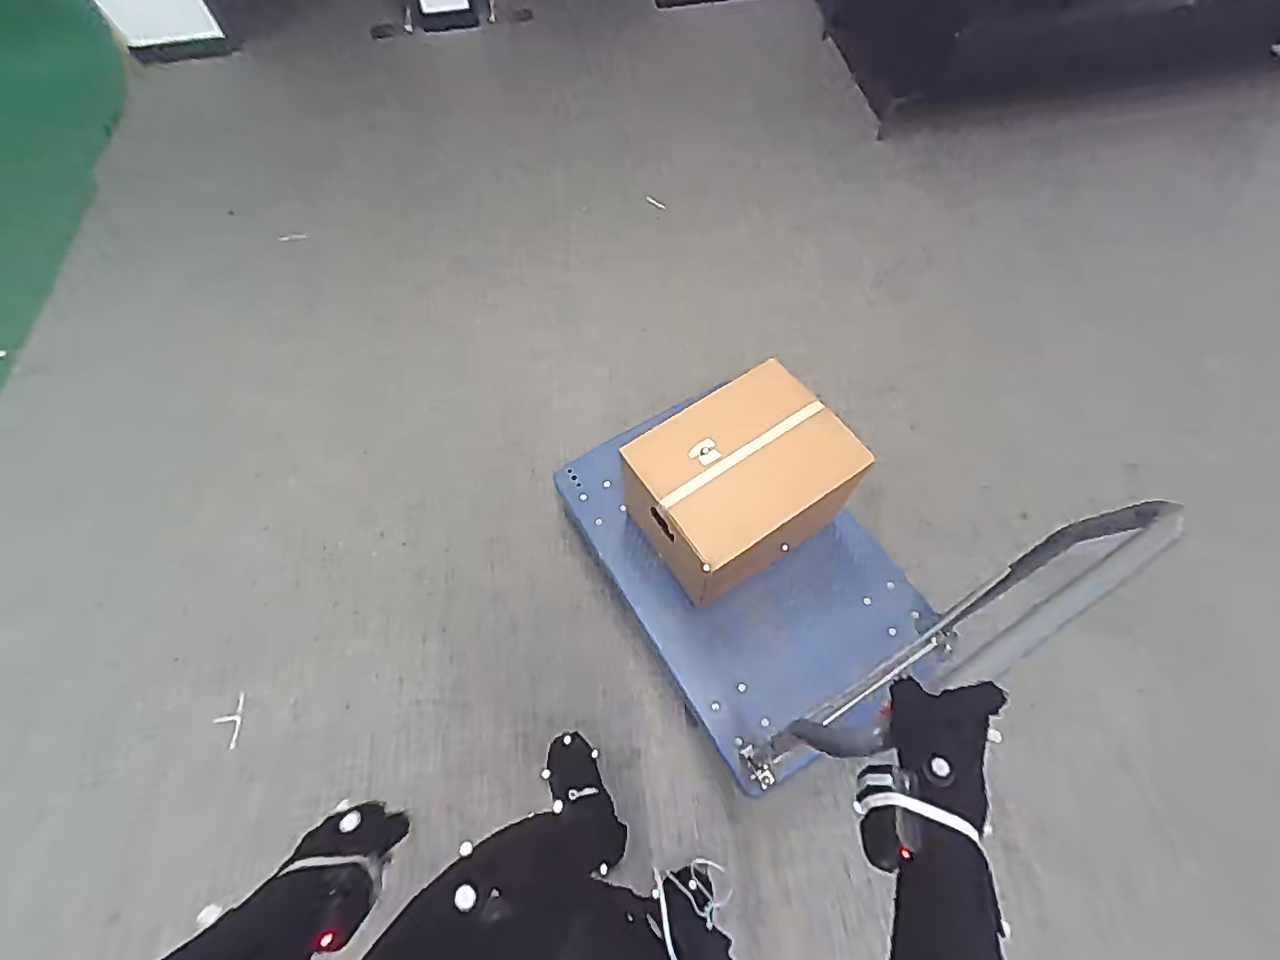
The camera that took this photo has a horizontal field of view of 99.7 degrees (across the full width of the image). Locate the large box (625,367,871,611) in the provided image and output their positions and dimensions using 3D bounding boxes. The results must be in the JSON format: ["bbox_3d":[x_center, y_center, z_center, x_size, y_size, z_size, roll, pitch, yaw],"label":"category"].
[{"bbox_3d":[0.221,0.029,1.213,0.408,0.320,0.320,-32,66,-13],"label":"large box"}]
